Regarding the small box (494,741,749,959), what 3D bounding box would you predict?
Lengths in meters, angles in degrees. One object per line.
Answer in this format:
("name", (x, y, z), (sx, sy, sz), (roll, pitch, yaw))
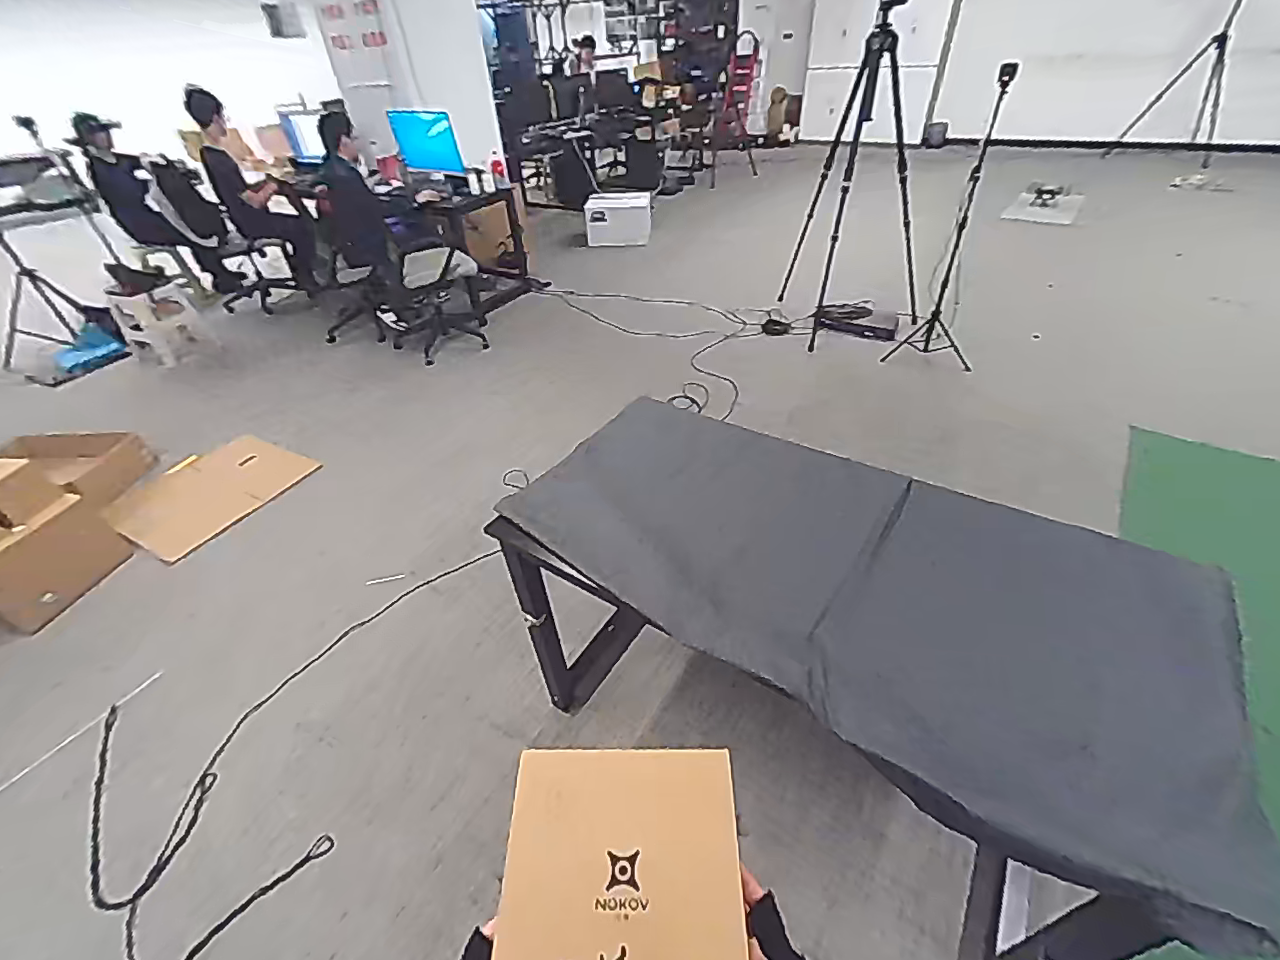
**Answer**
("small box", (-0.010, 0.328, 0.431), (0.168, 0.176, 0.179), (0, 48, 2))
